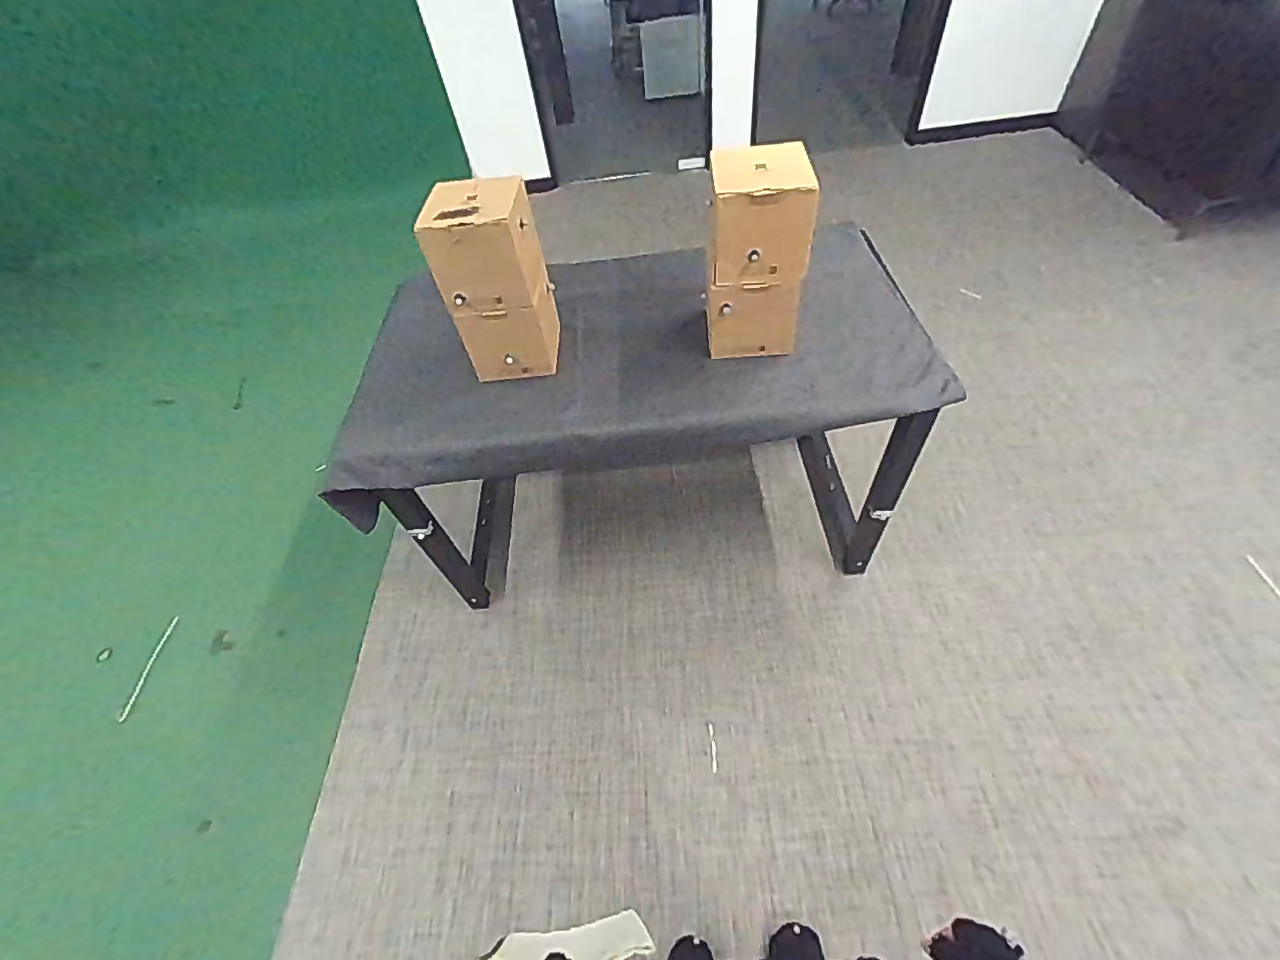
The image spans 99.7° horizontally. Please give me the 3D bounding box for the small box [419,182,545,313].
[{"bbox_3d":[-0.284,-0.429,1.015,0.168,0.176,0.179,-3,50,4],"label":"small box"}]

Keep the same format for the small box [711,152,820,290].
[{"bbox_3d":[0.217,-0.470,0.988,0.168,0.176,0.179,-3,51,5],"label":"small box"}]

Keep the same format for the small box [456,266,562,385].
[{"bbox_3d":[-0.265,-0.324,1.140,0.168,0.176,0.179,-5,51,4],"label":"small box"}]
